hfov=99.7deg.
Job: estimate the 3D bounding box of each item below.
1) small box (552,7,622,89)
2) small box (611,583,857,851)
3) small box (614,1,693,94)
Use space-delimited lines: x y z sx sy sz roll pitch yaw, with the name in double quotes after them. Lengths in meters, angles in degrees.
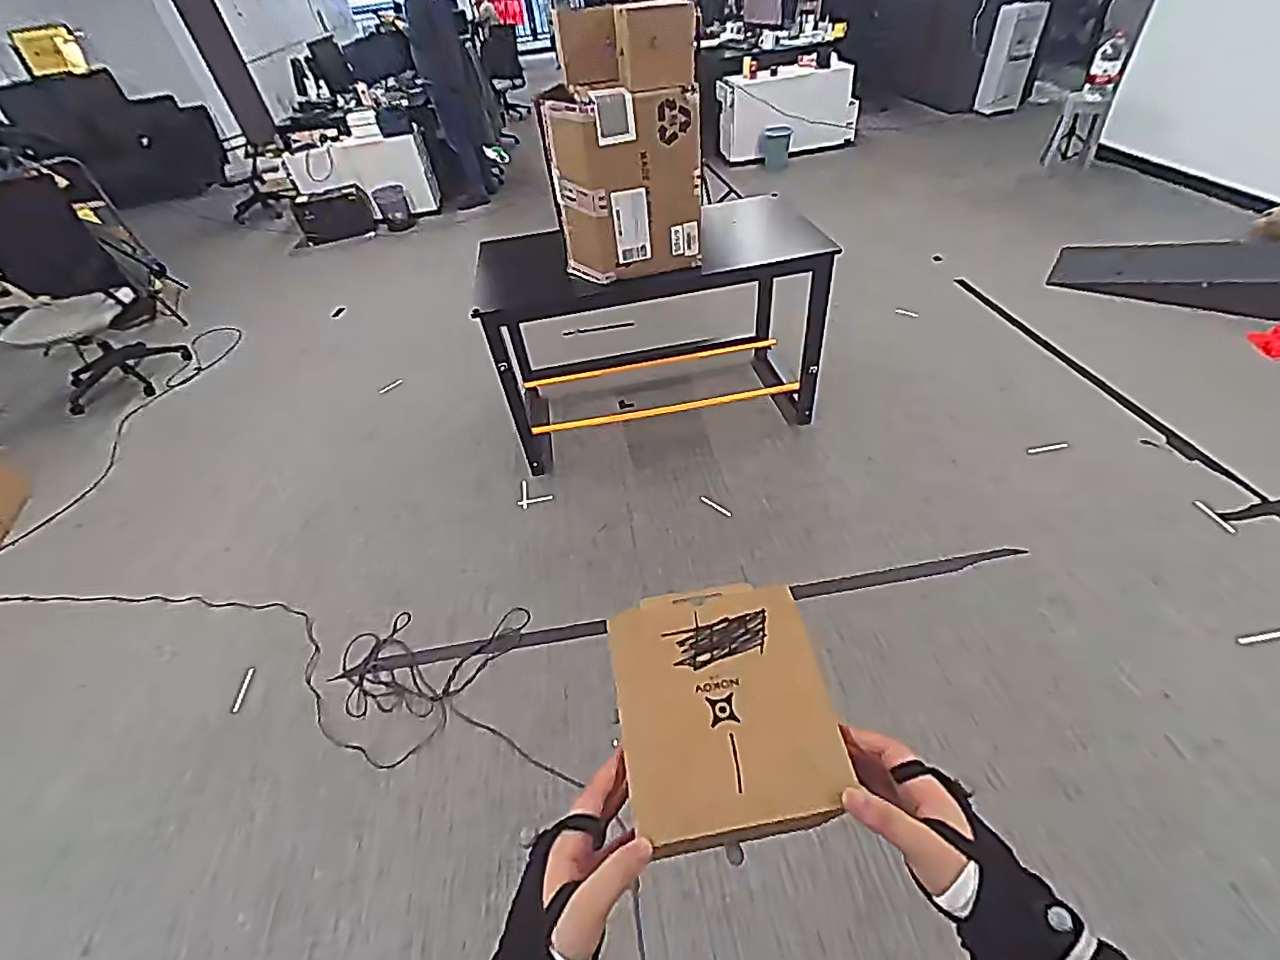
-0.149 -1.258 1.572 0.179 0.176 0.168 -12 41 -6 "small box"
0.069 0.221 0.499 0.168 0.176 0.179 -10 53 -3 "small box"
0.038 -1.150 1.439 0.179 0.176 0.168 -12 46 -5 "small box"
